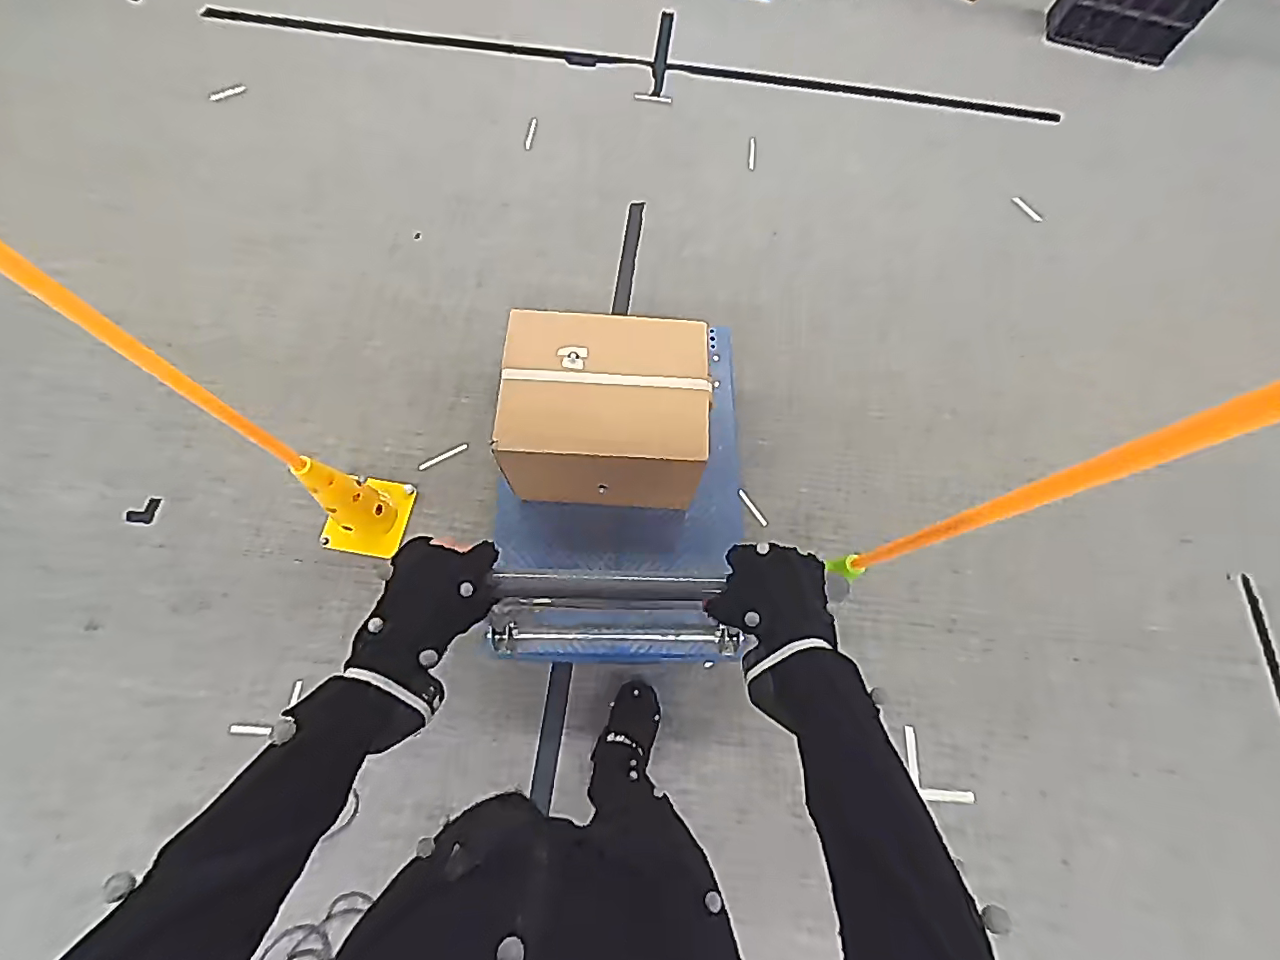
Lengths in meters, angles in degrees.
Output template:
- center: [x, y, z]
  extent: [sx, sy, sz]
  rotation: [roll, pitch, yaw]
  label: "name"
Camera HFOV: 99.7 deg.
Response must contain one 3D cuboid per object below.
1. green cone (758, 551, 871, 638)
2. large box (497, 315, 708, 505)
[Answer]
- center: [0.424, 0.236, 1.244]
  extent: [0.202, 0.368, 0.200]
  rotation: [12, 69, 0]
  label: "green cone"
- center: [-0.069, -0.137, 1.201]
  extent: [0.408, 0.320, 0.320]
  rotation: [3, 70, -1]
  label: "large box"
